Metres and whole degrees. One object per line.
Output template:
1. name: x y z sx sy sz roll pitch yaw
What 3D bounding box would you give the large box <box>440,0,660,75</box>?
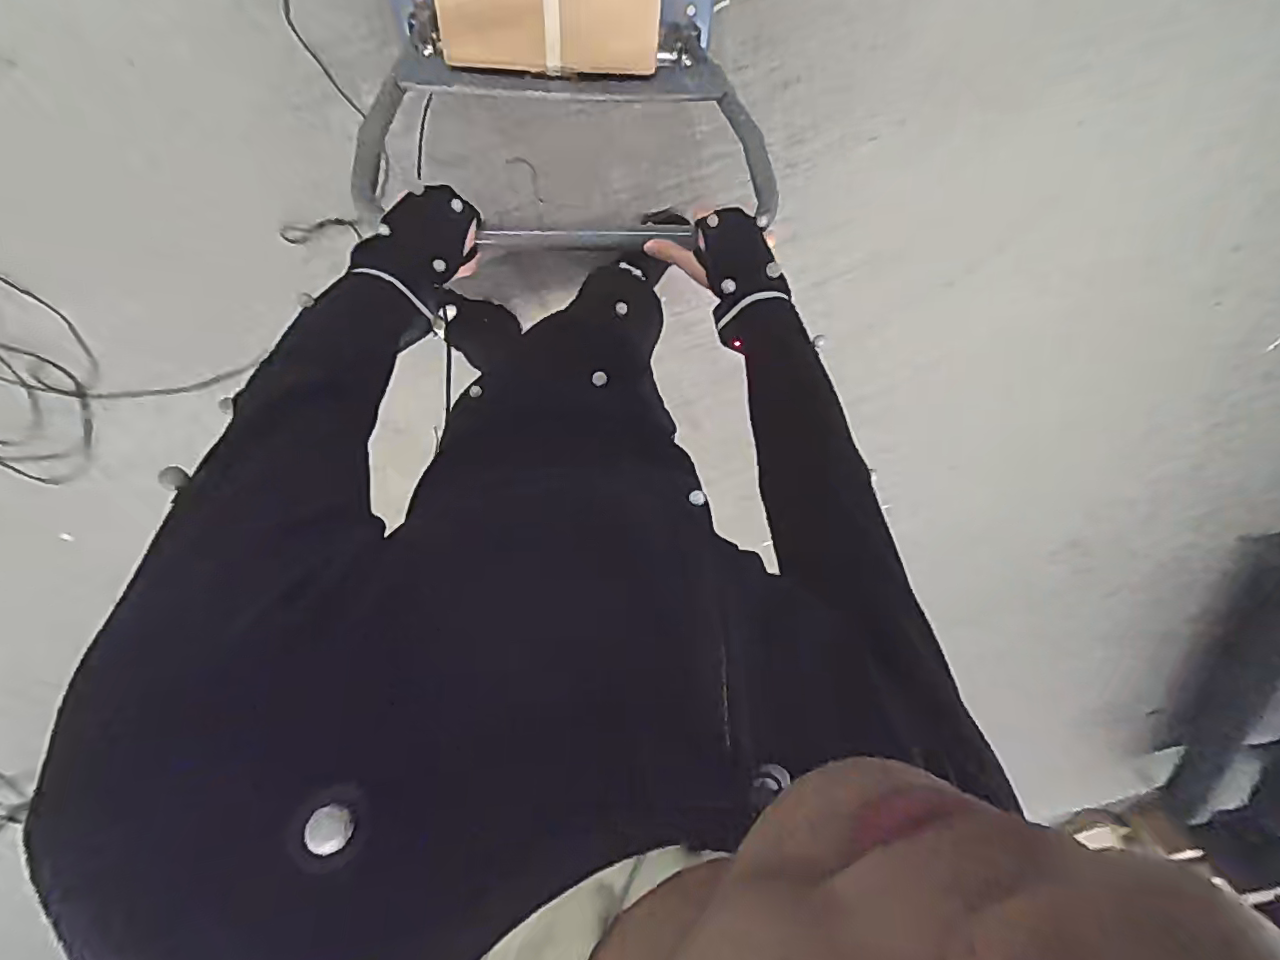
1. large box: -0.136 -0.864 0.785 0.320 0.320 0.408 -3 136 -7
